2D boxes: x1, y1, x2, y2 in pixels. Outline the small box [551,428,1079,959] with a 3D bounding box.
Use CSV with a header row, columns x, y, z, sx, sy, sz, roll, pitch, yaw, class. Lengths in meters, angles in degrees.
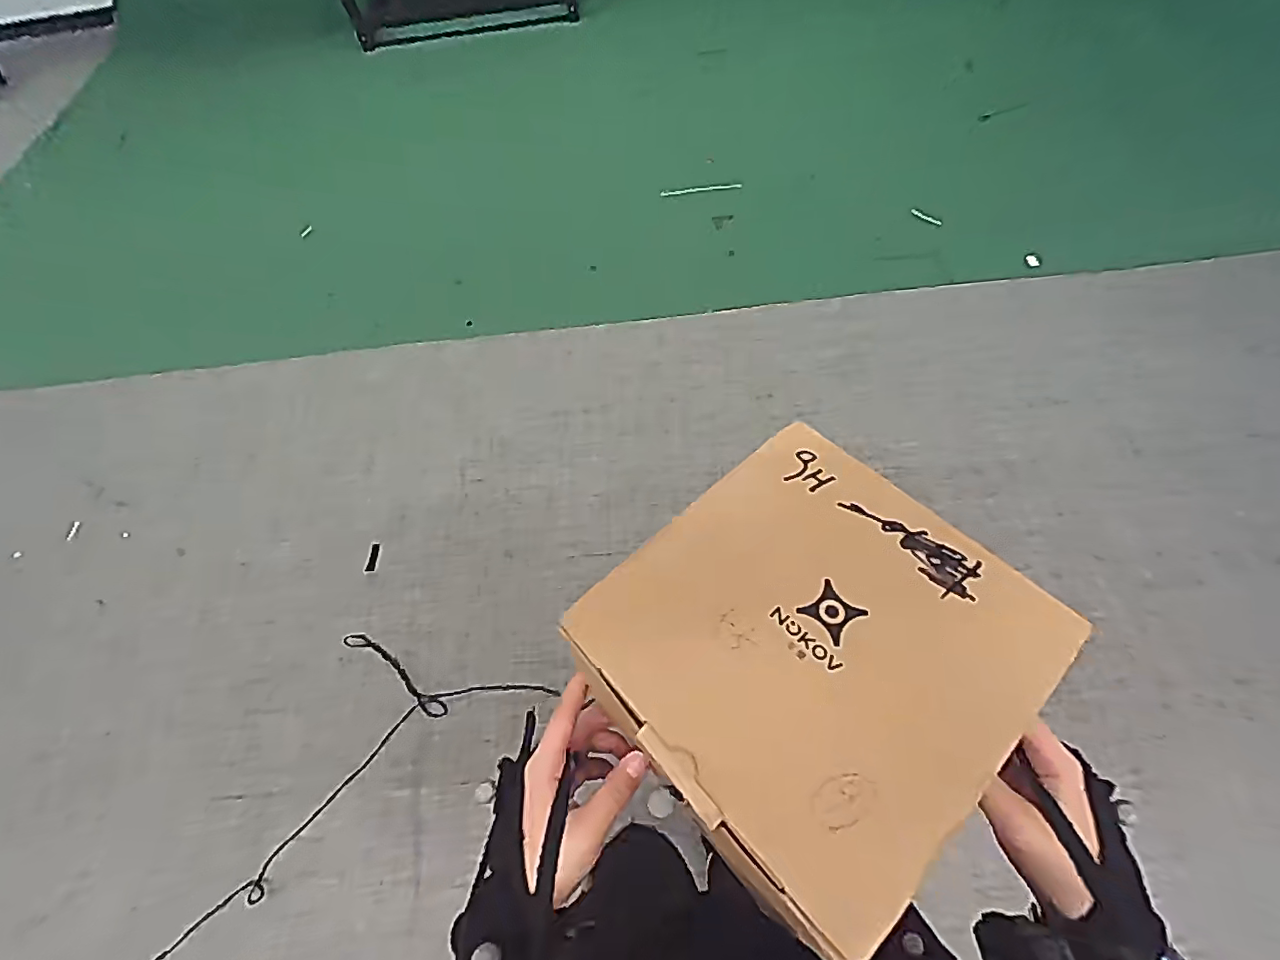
x,y,z,sx,sy,sz,roll,pitch,yaw,class
0.080,0.112,0.308,0.179,0.176,0.168,-38,62,-19,small box
